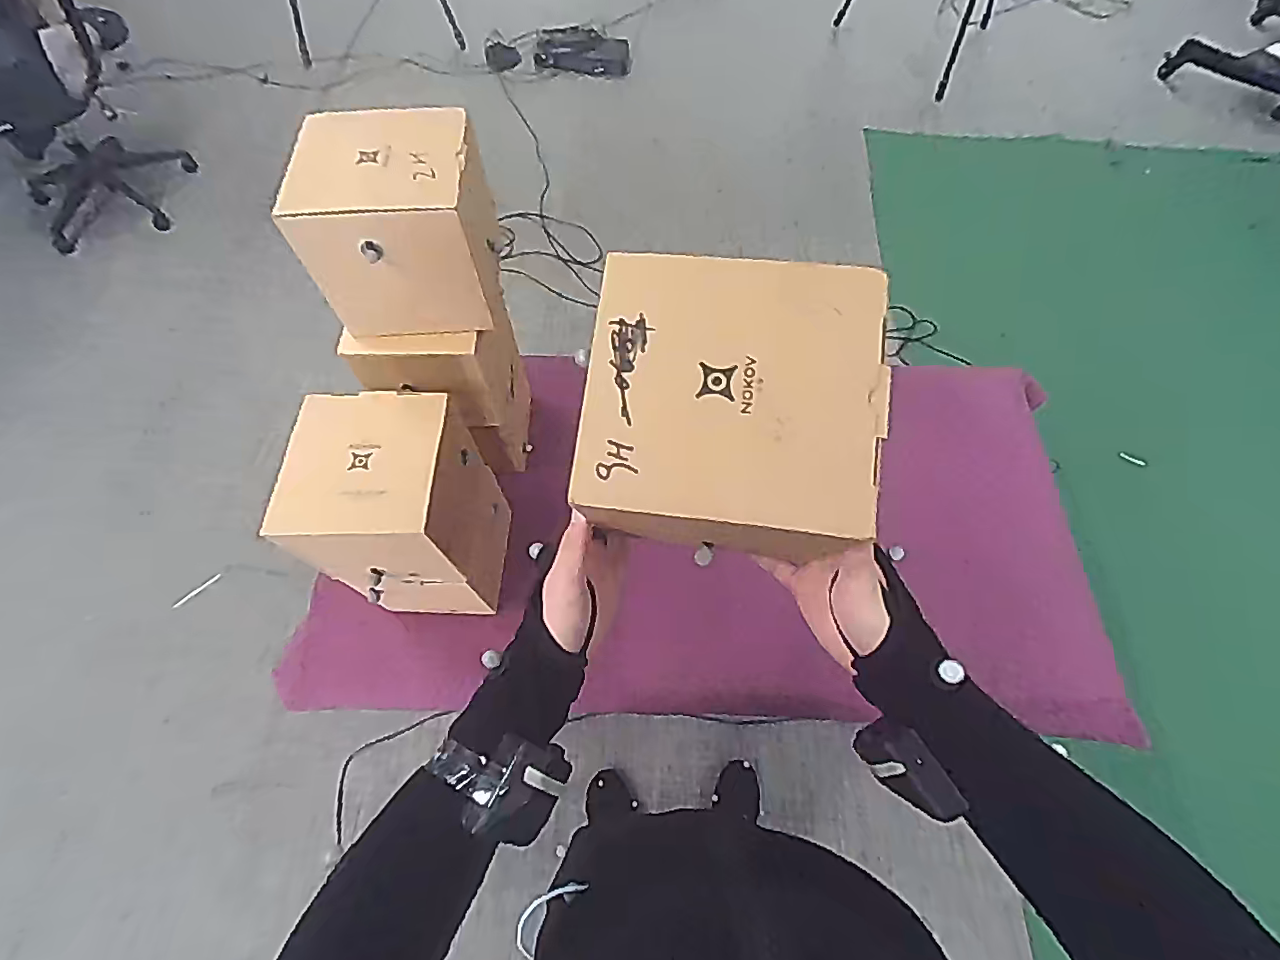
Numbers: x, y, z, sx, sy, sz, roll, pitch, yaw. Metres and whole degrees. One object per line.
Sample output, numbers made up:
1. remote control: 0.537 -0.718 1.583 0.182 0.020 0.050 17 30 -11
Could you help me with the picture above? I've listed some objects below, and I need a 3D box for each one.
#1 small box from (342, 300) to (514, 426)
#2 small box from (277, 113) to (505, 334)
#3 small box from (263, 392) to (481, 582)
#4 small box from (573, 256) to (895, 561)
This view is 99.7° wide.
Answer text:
1. small box: -0.279 -0.188 0.756 0.168 0.176 0.179 0 63 -1
2. small box: -0.264 -0.285 0.621 0.179 0.176 0.168 -3 63 -3
3. small box: -0.299 0.014 0.652 0.168 0.176 0.179 0 63 -1
4. small box: 0.063 -0.035 0.400 0.179 0.176 0.168 8 78 5
